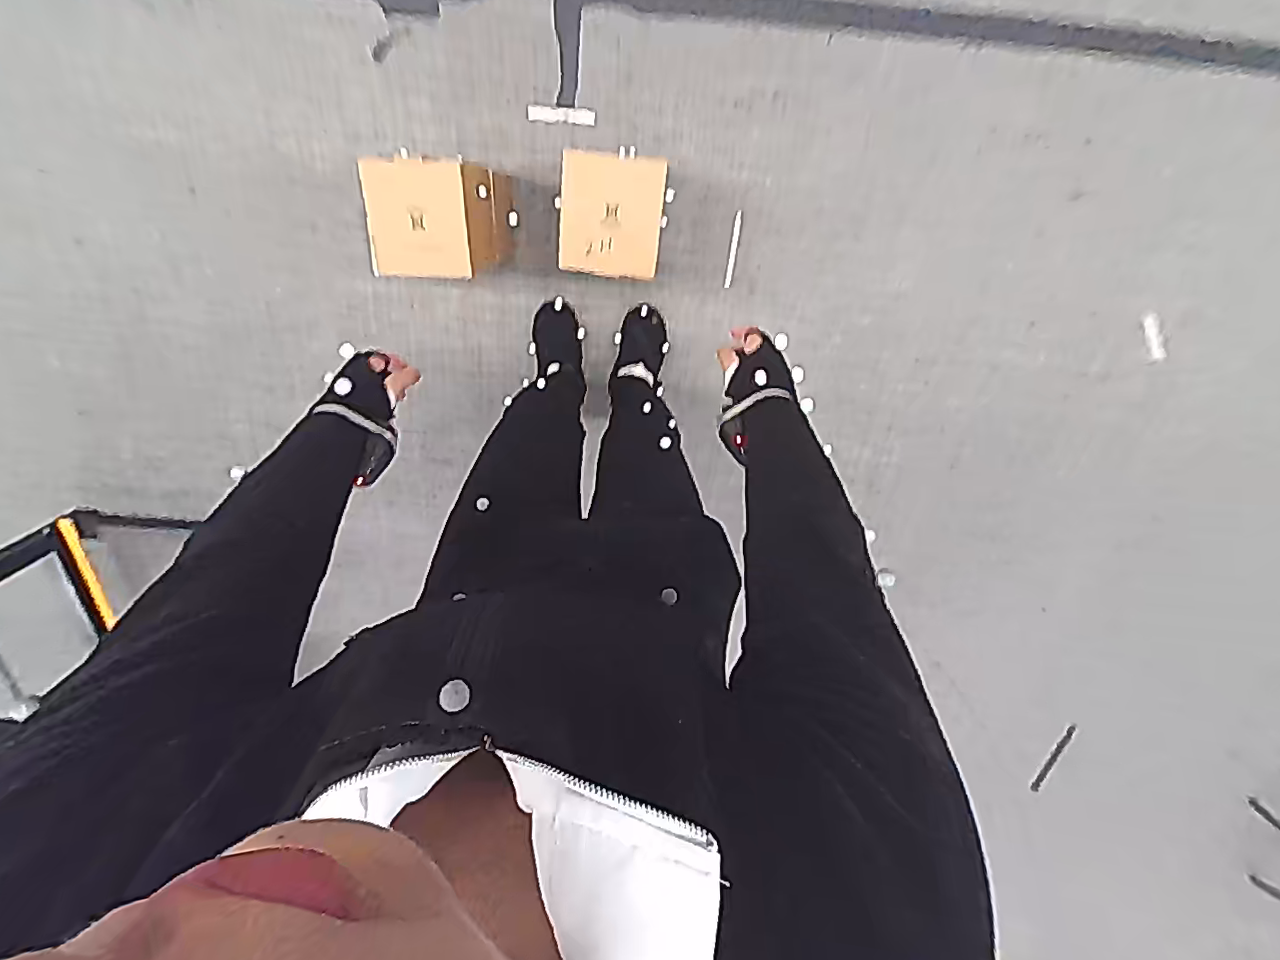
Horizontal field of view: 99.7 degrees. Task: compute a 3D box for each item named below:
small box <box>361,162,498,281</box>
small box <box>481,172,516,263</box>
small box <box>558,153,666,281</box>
[{"bbox_3d":[-0.363,-0.461,0.965,0.168,0.176,0.179,2,118,2],"label":"small box"},{"bbox_3d":[-0.363,-0.537,1.108,0.179,0.176,0.168,3,117,-1],"label":"small box"},{"bbox_3d":[-0.049,-0.462,0.956,0.168,0.176,0.179,6,117,-2],"label":"small box"}]
